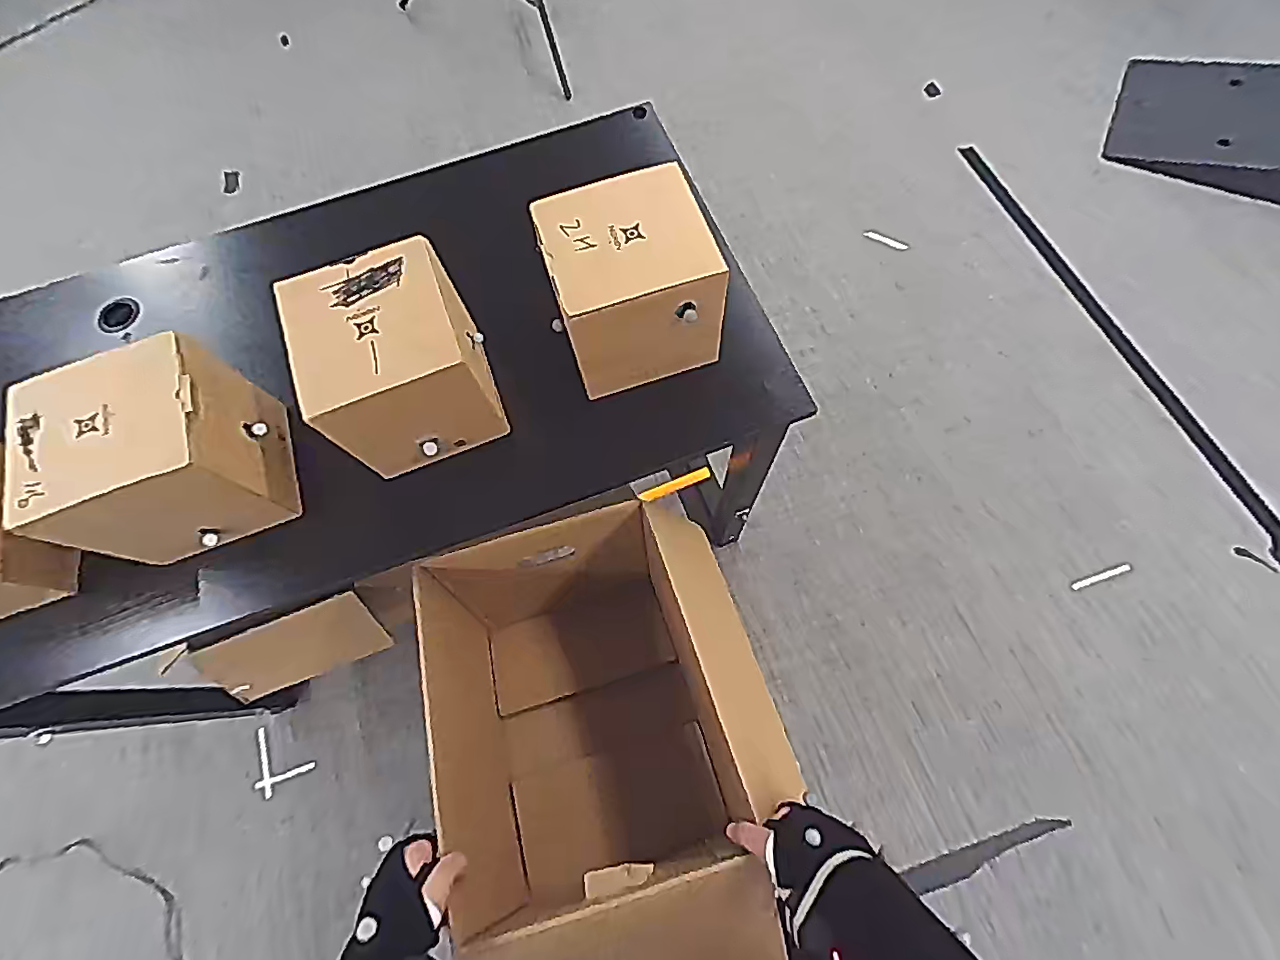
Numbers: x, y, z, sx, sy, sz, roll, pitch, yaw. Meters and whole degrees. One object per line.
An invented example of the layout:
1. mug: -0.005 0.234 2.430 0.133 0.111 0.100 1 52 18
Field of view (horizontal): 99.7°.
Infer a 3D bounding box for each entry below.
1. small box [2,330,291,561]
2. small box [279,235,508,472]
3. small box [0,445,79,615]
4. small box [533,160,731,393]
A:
1. small box: -0.520 -0.028 0.597 0.179 0.176 0.168 -21 70 -6
2. small box: -0.271 -0.135 0.622 0.168 0.176 0.179 -22 71 -5
3. small box: -0.768 0.060 0.577 0.179 0.176 0.168 -18 70 -5
4. small box: -0.009 -0.231 0.642 0.179 0.176 0.168 -18 69 -3
